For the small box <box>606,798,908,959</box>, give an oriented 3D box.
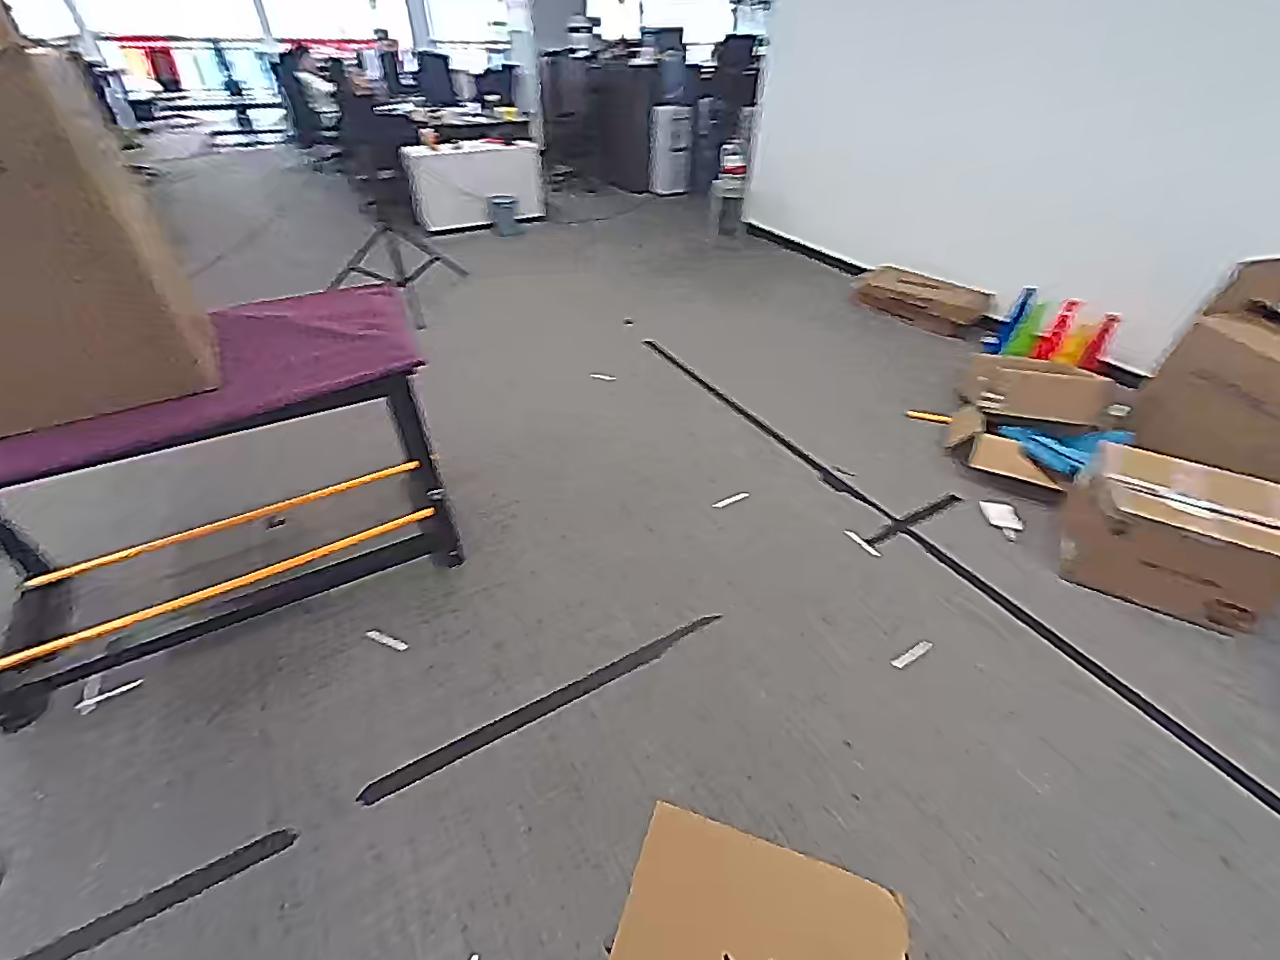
[{"bbox_3d":[0.069,0.361,0.371,0.179,0.176,0.168,12,42,15],"label":"small box"}]
